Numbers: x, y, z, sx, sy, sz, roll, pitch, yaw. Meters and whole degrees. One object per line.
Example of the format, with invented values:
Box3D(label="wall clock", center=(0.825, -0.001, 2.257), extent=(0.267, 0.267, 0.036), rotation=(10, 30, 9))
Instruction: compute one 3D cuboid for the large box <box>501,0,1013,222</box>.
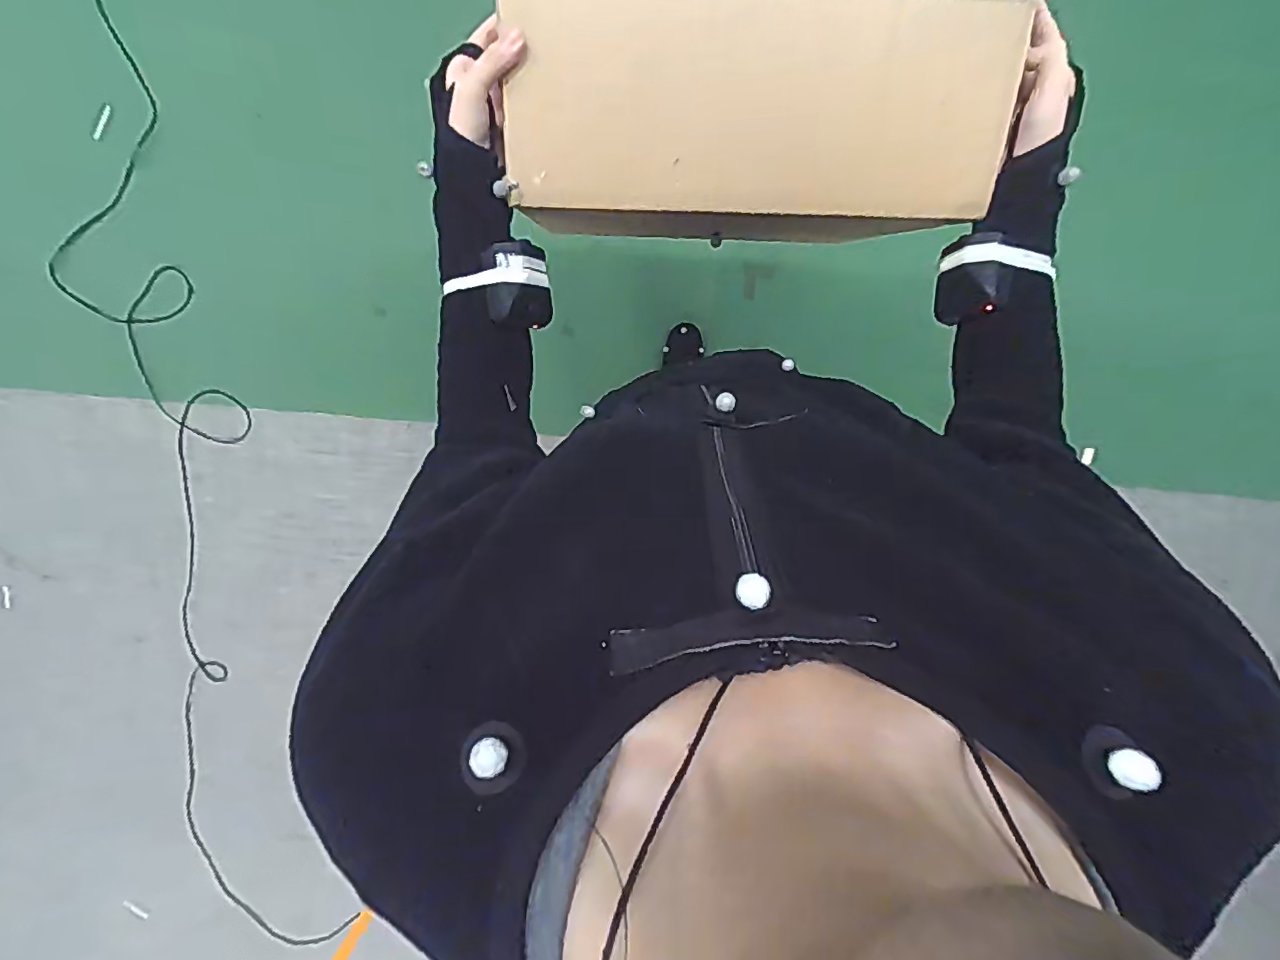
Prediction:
Box3D(label="large box", center=(0.089, -0.438, 0.545), extent=(0.408, 0.320, 0.320), rotation=(0, 111, -2))
